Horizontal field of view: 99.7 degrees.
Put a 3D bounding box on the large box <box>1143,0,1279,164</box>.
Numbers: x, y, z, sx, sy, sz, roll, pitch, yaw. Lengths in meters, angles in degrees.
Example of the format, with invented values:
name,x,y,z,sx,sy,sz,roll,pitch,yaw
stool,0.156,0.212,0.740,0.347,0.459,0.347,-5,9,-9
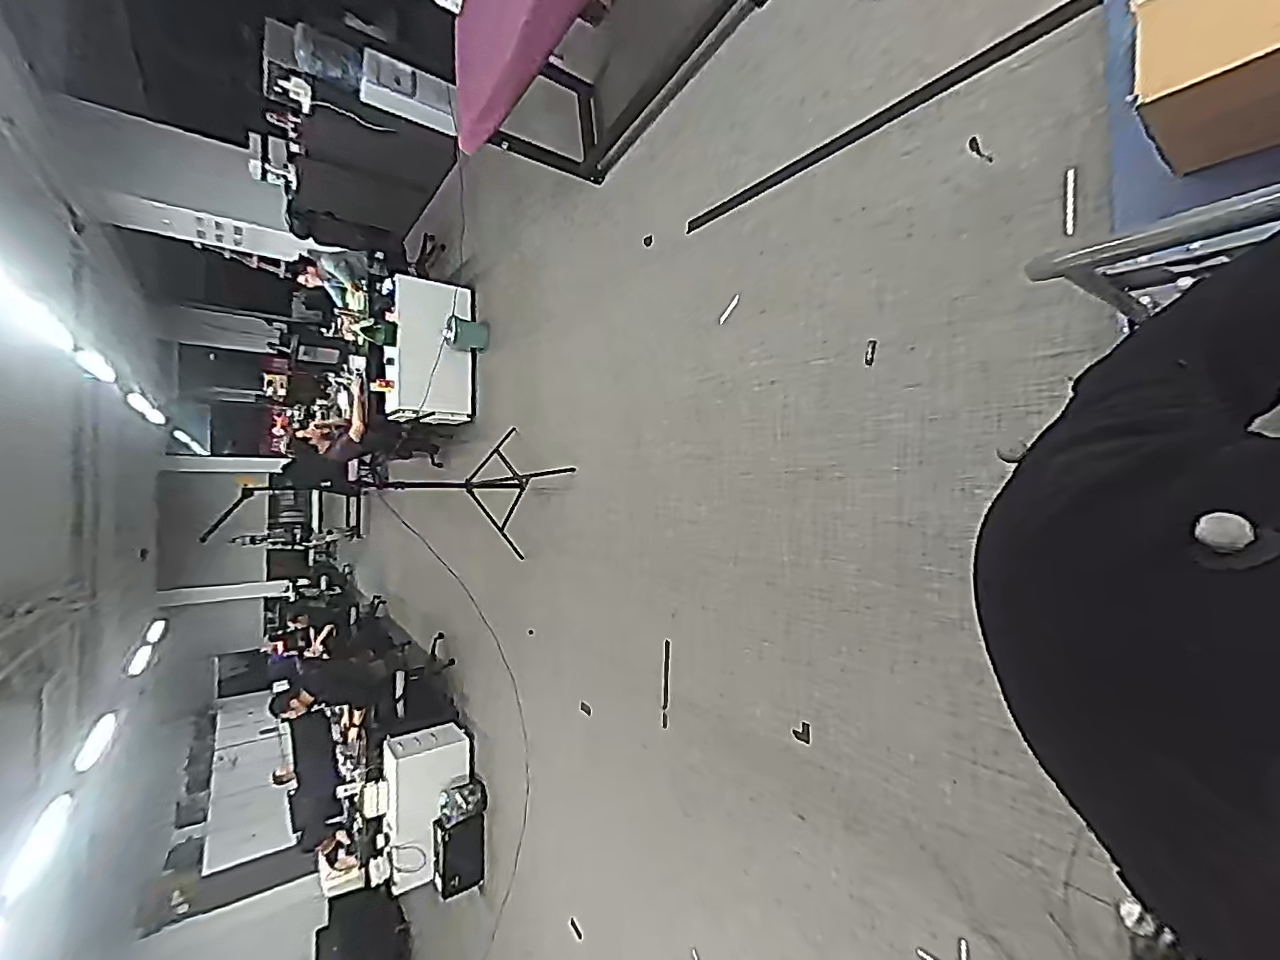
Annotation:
name,x,y,z,sx,sy,sz,roll,pitch,yaw
large box,0.983,-0.715,0.725,0.408,0.320,0.320,0,89,55
